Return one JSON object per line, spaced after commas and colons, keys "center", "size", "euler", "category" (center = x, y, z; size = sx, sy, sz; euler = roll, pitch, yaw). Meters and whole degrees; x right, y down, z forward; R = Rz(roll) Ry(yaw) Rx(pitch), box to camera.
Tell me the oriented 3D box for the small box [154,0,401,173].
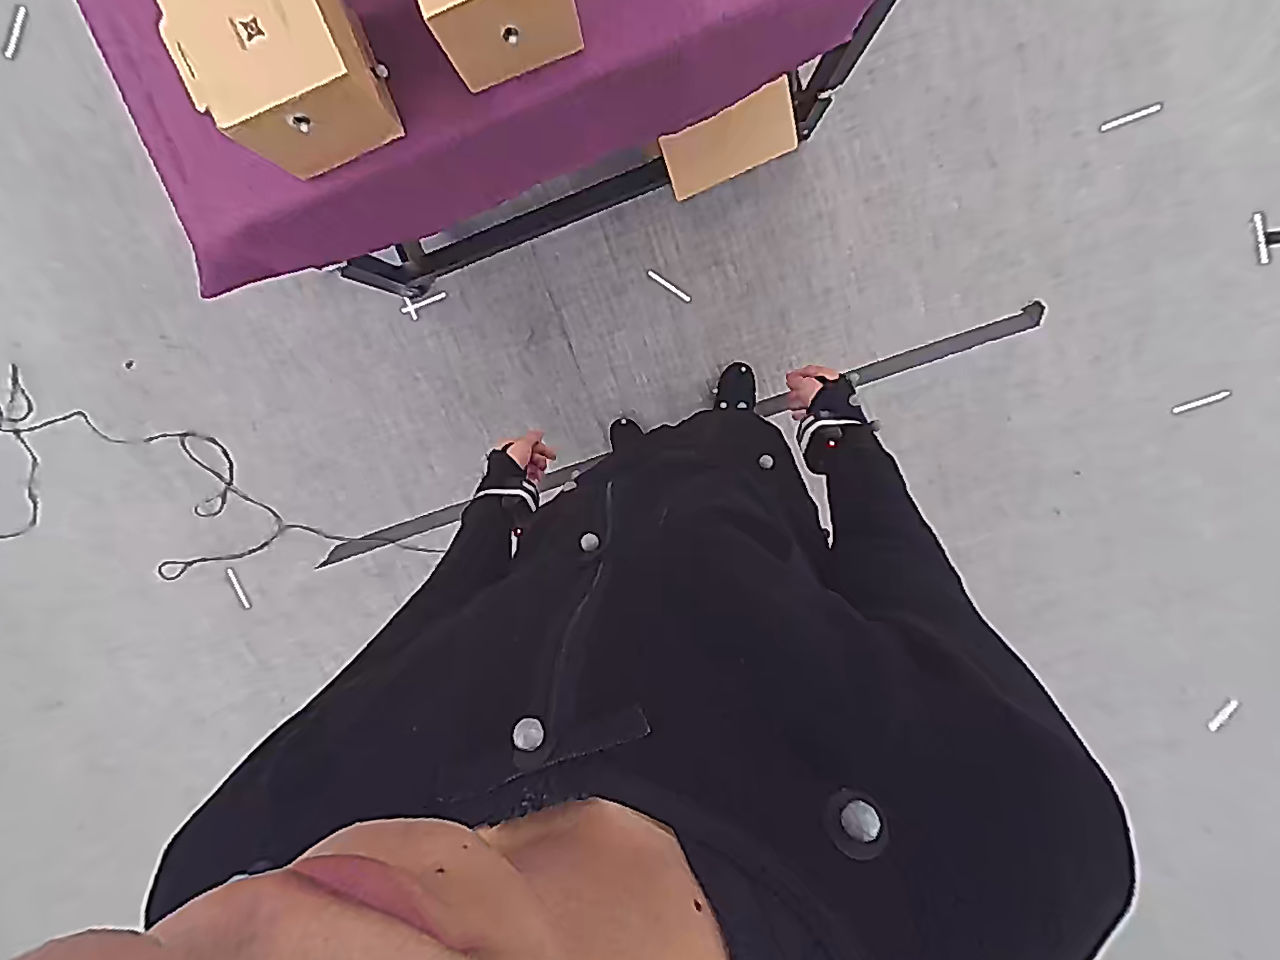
{"center": [-0.451, -0.534, 0.700], "size": [0.179, 0.176, 0.168], "euler": [-21, 100, 4], "category": "small box"}
